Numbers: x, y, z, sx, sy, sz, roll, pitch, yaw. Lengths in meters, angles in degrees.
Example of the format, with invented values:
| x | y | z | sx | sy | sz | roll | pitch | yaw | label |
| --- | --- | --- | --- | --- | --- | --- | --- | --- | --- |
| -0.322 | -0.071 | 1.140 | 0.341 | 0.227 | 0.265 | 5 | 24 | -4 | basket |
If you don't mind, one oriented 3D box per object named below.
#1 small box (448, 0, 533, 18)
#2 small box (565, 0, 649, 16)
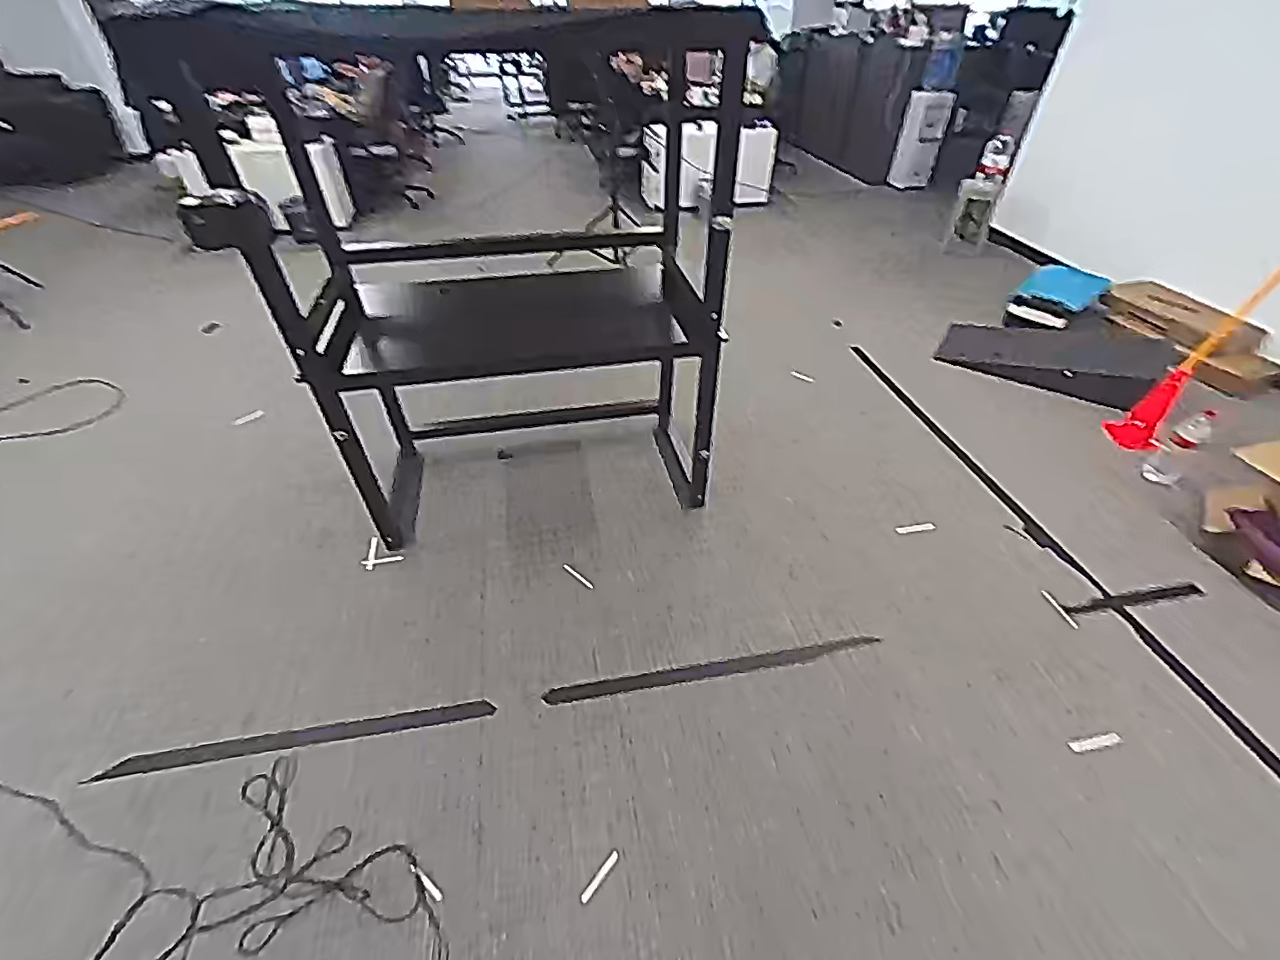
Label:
| x | y | z | sx | sy | sz | roll | pitch | yaw | label |
| --- | --- | --- | --- | --- | --- | --- | --- | --- | --- |
| -0.309 | -1.048 | 1.091 | 0.168 | 0.176 | 0.179 | -5 | 42 | -6 | small box |
| -0.075 | -1.075 | 1.119 | 0.168 | 0.176 | 0.179 | -8 | 42 | -6 | small box |
